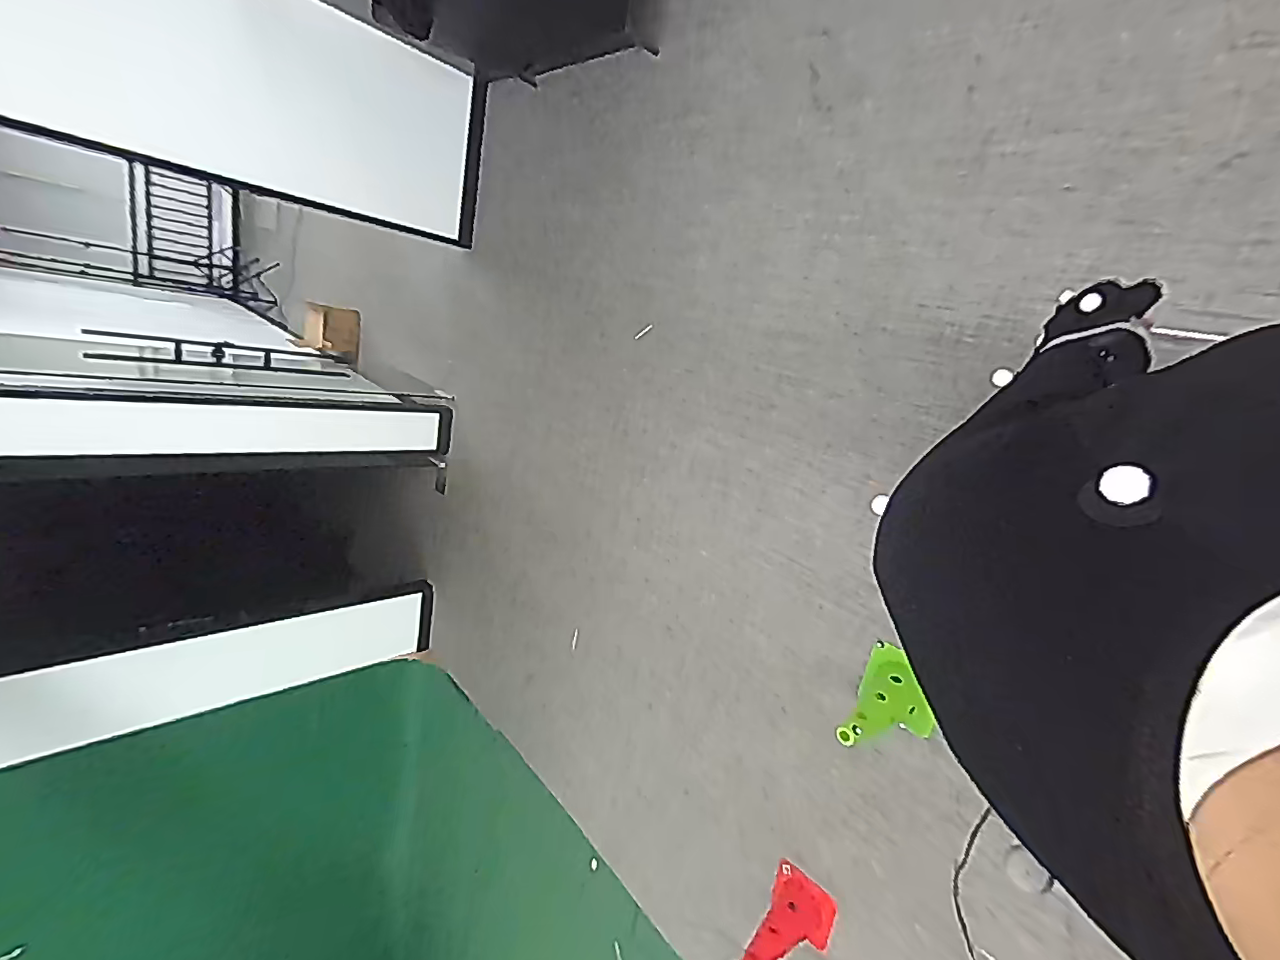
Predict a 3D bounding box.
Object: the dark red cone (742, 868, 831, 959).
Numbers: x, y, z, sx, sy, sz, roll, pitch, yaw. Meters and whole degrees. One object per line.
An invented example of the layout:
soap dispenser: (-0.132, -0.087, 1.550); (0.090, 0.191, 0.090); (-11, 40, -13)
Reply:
dark red cone: (0.377, 1.367, 1.580); (0.202, 0.394, 0.201); (20, 108, 43)

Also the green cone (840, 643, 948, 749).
green cone: (0.590, 0.580, 1.349); (0.202, 0.368, 0.200); (24, 110, 41)
